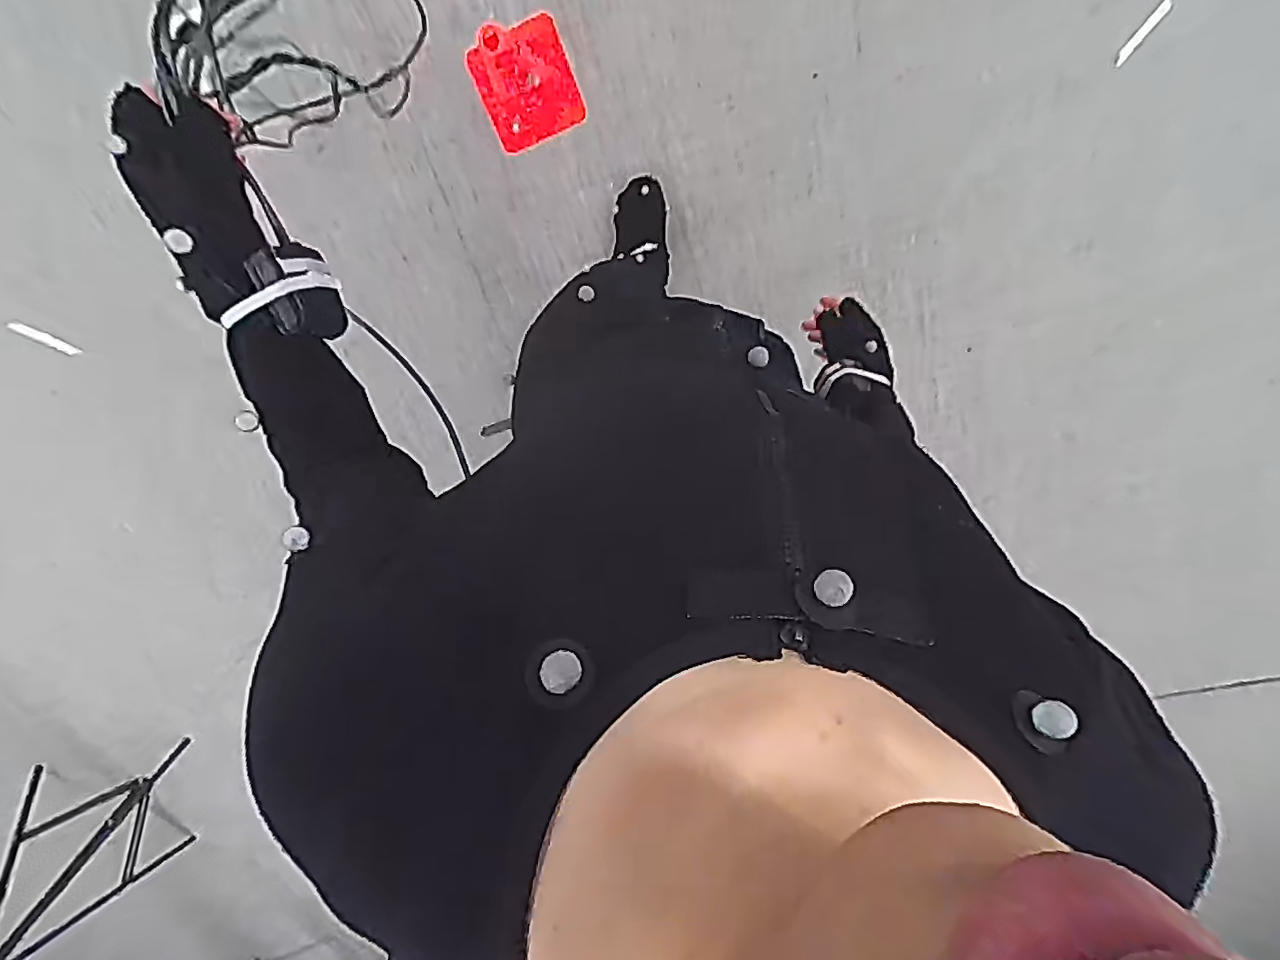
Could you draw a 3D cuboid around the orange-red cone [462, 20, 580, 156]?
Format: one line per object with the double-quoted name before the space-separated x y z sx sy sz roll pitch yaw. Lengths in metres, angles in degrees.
"orange-red cone" -0.238 -0.736 0.975 0.199 0.360 0.198 -20 116 7
